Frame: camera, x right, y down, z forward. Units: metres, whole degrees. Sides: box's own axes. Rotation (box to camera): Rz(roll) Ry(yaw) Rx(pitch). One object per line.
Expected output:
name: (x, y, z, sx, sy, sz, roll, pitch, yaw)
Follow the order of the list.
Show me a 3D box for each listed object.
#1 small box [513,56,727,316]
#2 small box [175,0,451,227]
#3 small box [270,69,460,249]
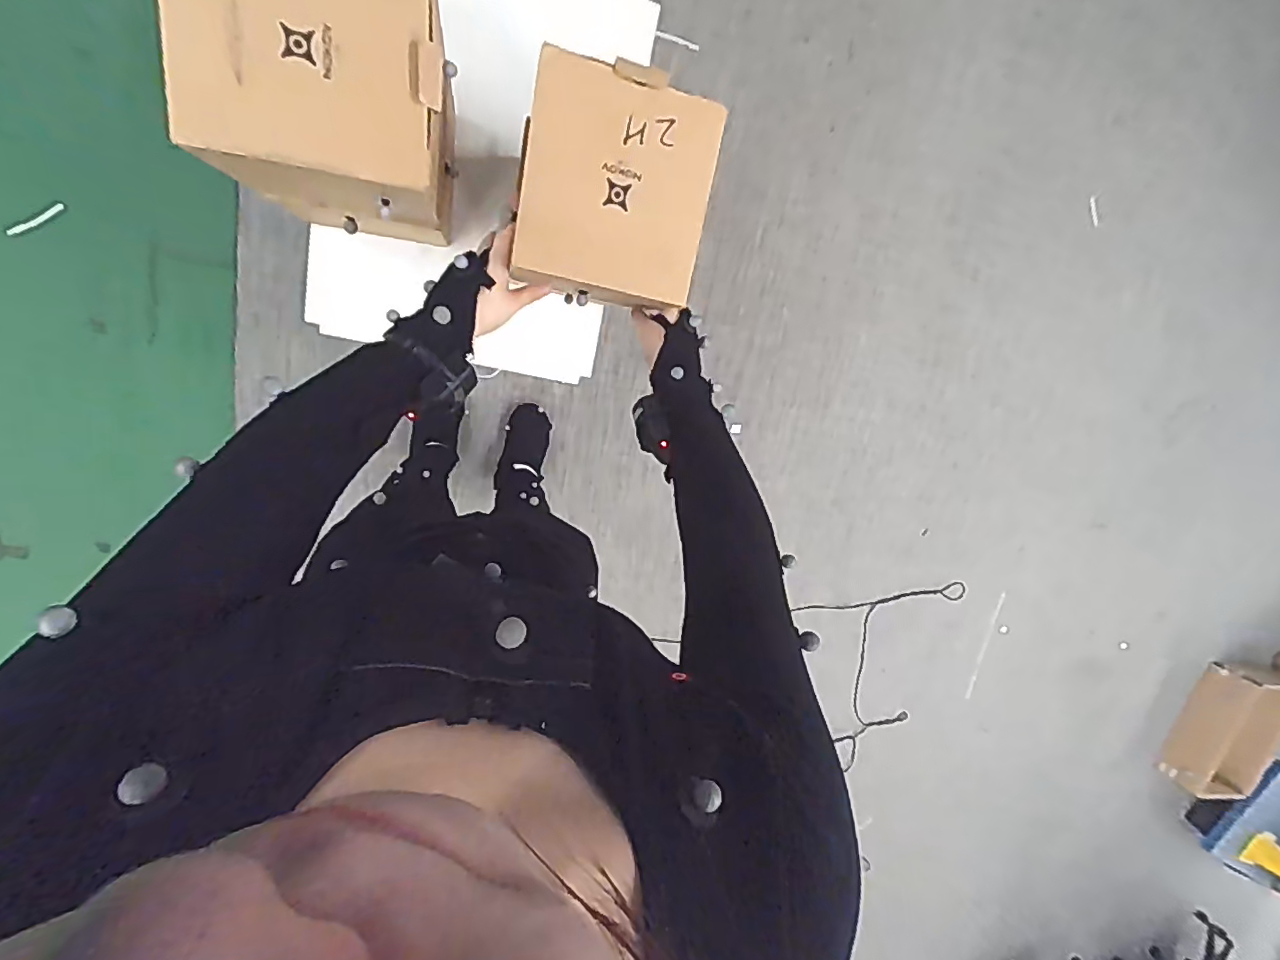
small box: (-0.034, -0.274, 0.555, 0.168, 0.176, 0.179, 8, 103, -17)
small box: (-0.263, -0.333, 0.476, 0.179, 0.176, 0.168, 2, 104, -17)
small box: (-0.308, -0.375, 0.628, 0.179, 0.176, 0.168, 3, 105, -18)
